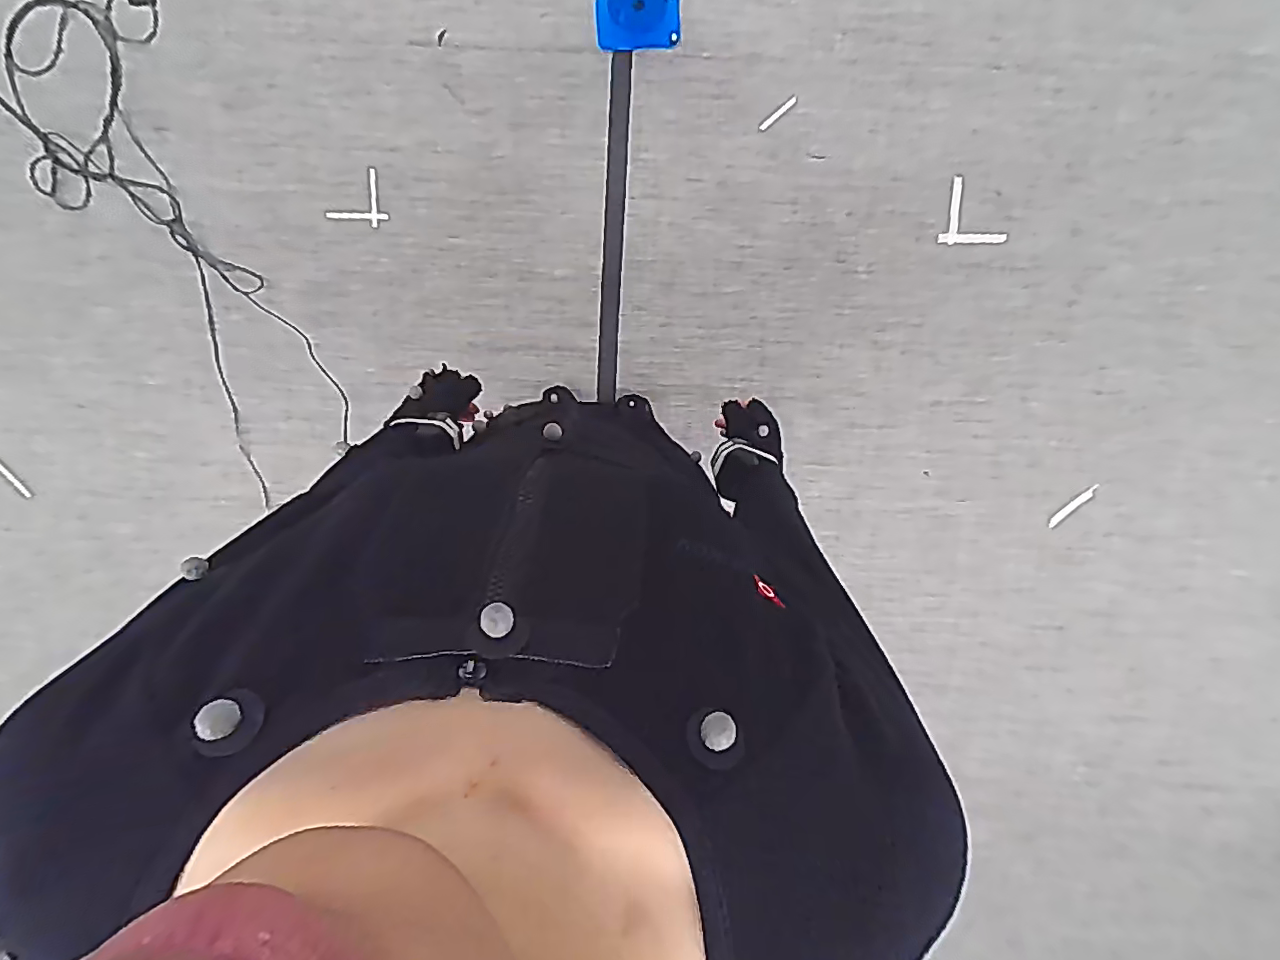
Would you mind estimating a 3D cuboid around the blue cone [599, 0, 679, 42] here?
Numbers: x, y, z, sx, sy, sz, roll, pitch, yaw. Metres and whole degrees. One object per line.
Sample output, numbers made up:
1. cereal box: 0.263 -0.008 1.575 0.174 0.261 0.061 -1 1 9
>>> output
1. blue cone: 0.001 -1.105 1.107 0.192 0.380 0.193 -1 101 -2
